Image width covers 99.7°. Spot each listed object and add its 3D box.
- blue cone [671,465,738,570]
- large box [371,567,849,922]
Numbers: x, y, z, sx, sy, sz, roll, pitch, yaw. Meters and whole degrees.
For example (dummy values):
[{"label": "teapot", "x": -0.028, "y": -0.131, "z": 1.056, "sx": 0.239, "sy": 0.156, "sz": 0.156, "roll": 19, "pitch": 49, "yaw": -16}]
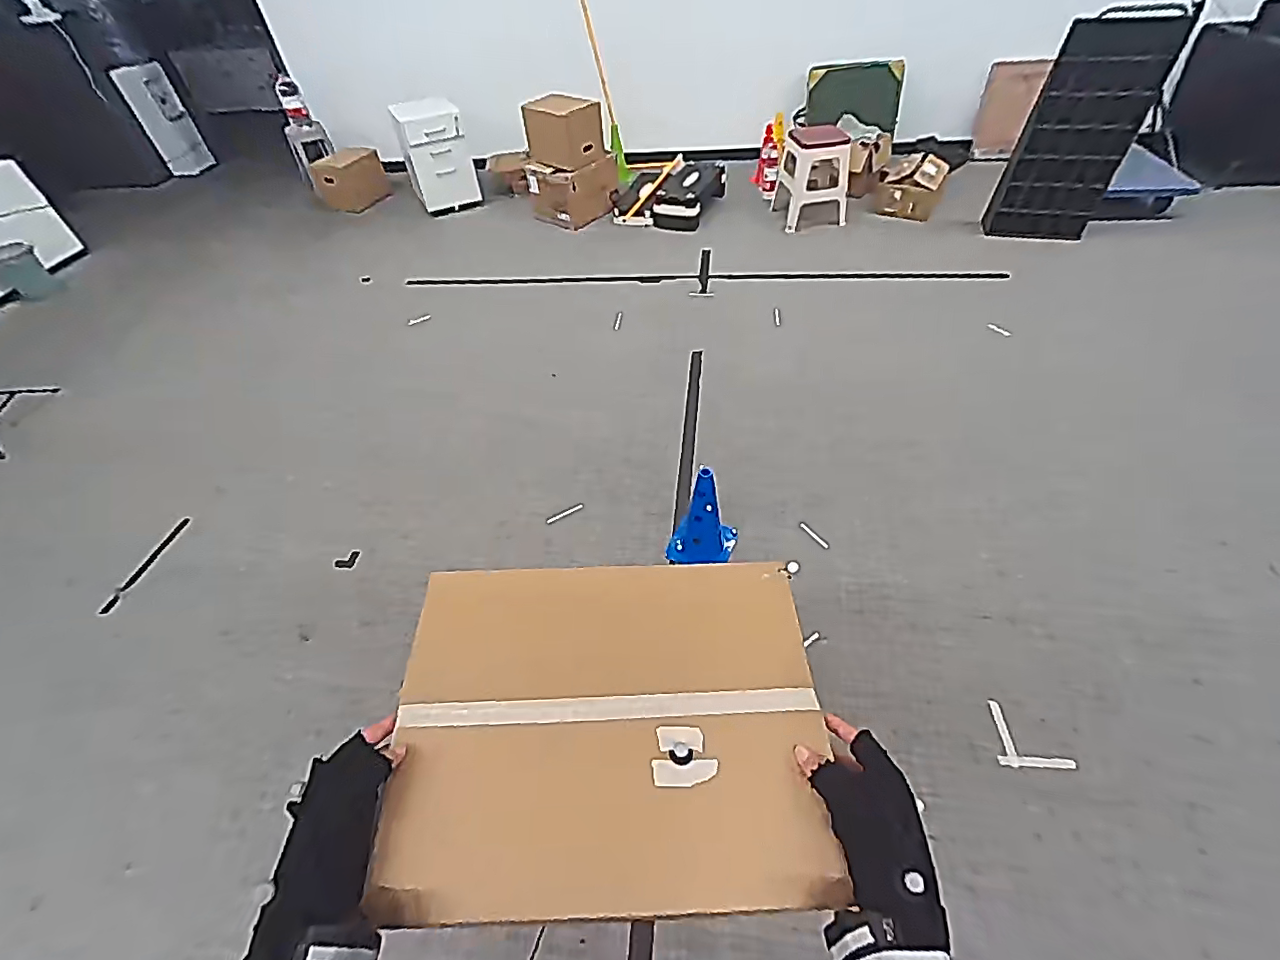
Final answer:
[{"label": "blue cone", "x": 0.208, "y": 0.102, "z": 1.700, "sx": 0.193, "sy": 0.380, "sz": 0.192, "roll": 19, "pitch": 52, "yaw": 21}, {"label": "large box", "x": -0.029, "y": 0.321, "z": 0.650, "sx": 0.408, "sy": 0.320, "sz": 0.320, "roll": -1, "pitch": 51, "yaw": -1}]
